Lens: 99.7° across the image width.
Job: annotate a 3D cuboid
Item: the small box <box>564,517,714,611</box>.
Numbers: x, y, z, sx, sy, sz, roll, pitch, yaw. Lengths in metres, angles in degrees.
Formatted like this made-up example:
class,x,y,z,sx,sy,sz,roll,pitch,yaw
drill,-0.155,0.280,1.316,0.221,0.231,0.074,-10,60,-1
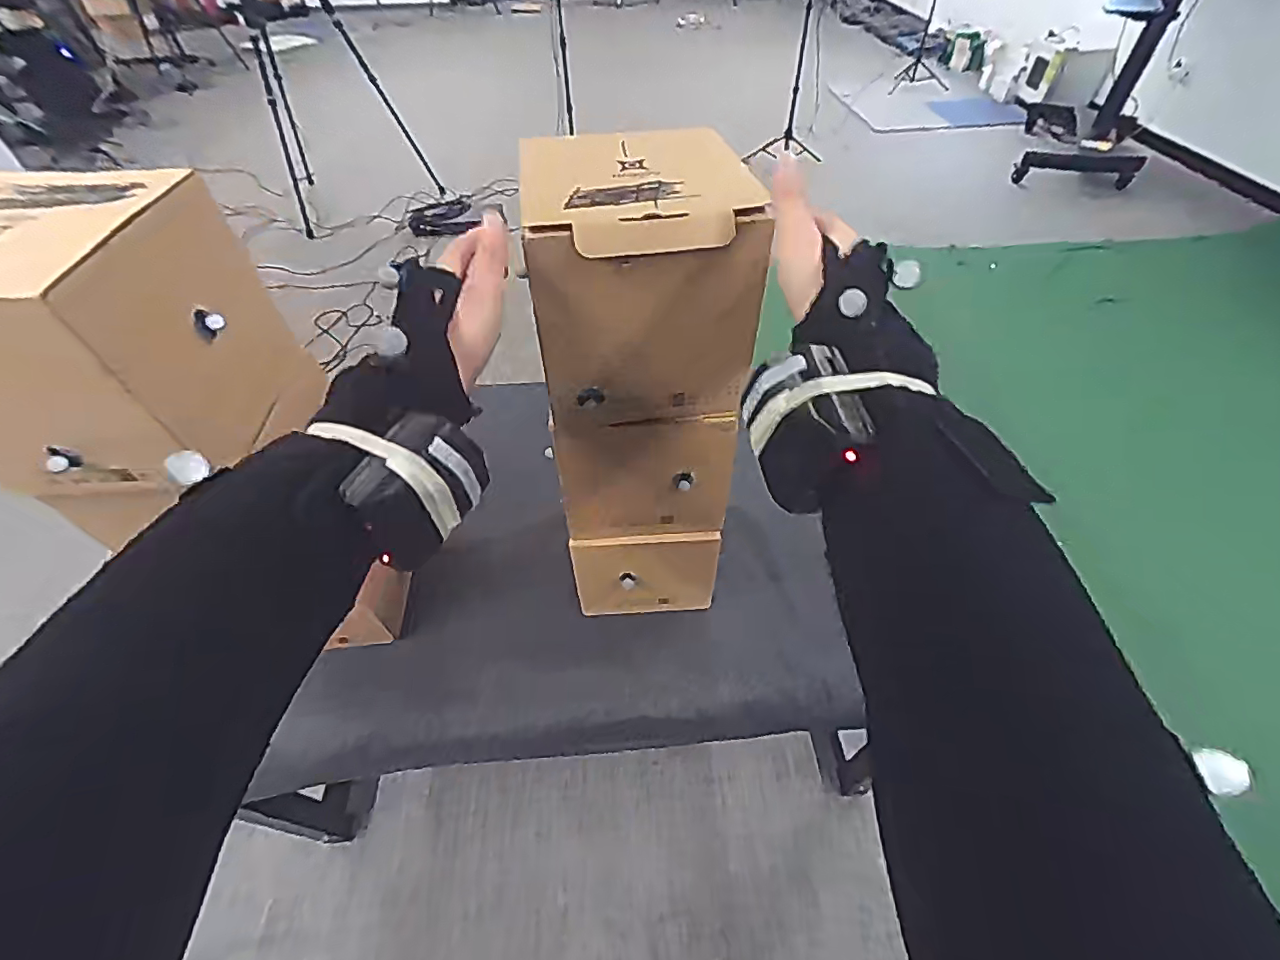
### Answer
class,x,y,z,sx,sy,sz,roll,pitch,yaw
small box,-0.001,0.057,0.692,0.168,0.176,0.179,-3,49,-1

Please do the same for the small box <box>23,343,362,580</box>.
class,x,y,z,sx,sy,sz,roll,pitch,yaw
small box,-0.404,-0.012,0.535,0.168,0.176,0.179,-3,49,-3

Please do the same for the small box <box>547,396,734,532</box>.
class,x,y,z,sx,sy,sz,roll,pitch,yaw
small box,-0.003,-0.056,0.576,0.168,0.176,0.179,-3,48,-3

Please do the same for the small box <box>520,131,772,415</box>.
class,x,y,z,sx,sy,sz,roll,pitch,yaw
small box,-0.005,-0.168,0.455,0.168,0.176,0.179,-7,48,-7

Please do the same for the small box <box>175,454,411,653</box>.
class,x,y,z,sx,sy,sz,roll,pitch,yaw
small box,-0.398,0.090,0.665,0.168,0.176,0.179,-4,49,-4
